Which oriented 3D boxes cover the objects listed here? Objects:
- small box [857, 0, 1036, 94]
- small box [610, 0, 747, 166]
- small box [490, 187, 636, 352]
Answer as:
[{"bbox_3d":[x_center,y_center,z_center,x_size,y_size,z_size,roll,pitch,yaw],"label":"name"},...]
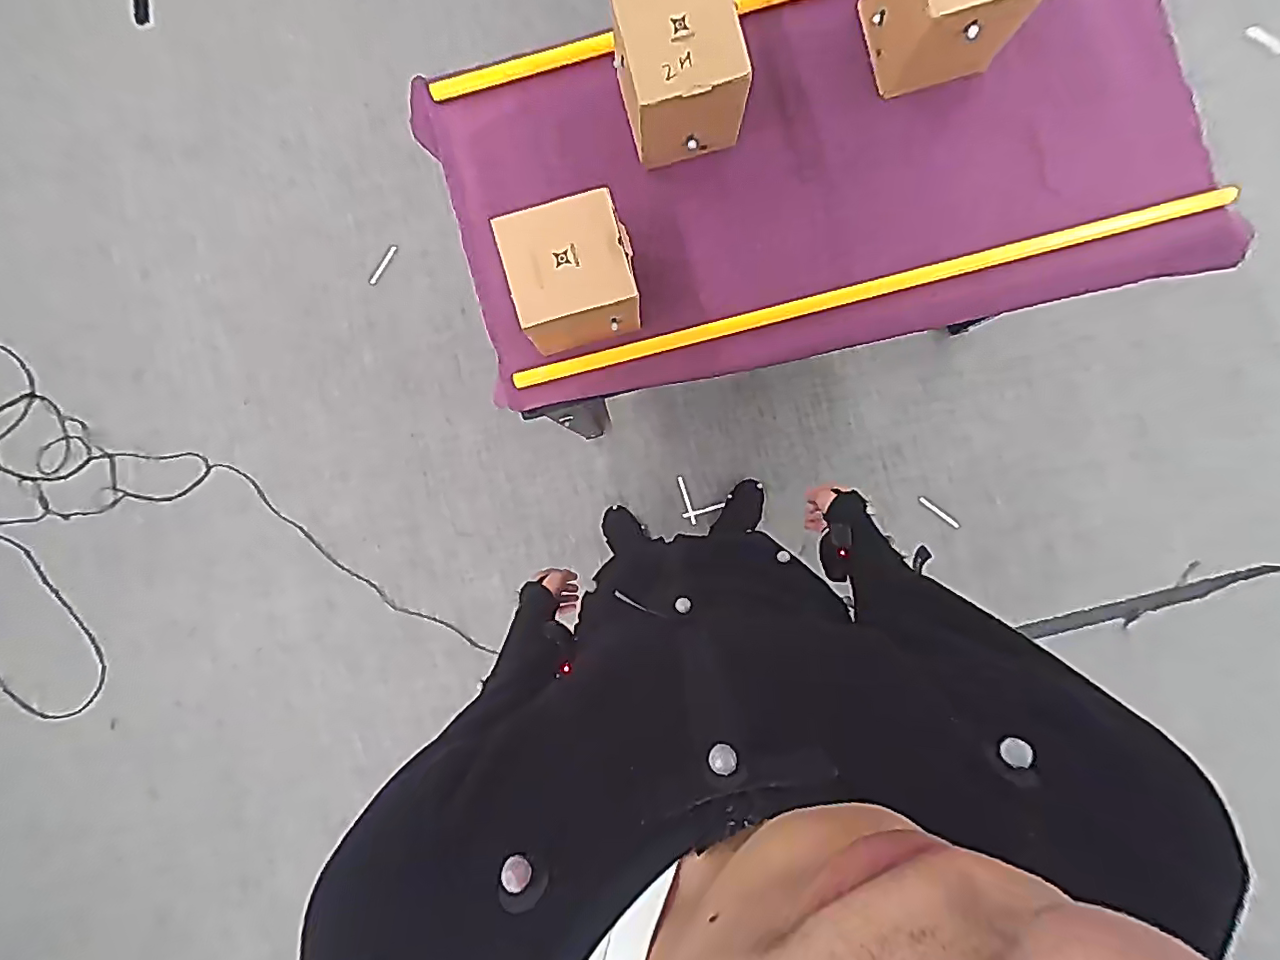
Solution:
[{"bbox_3d":[0.463,-0.742,0.827,0.179,0.176,0.168,-15,91,3],"label":"small box"},{"bbox_3d":[0.054,-0.634,0.840,0.168,0.176,0.179,-15,91,2],"label":"small box"},{"bbox_3d":[-0.110,-0.316,0.844,0.179,0.176,0.168,-16,89,0],"label":"small box"}]
